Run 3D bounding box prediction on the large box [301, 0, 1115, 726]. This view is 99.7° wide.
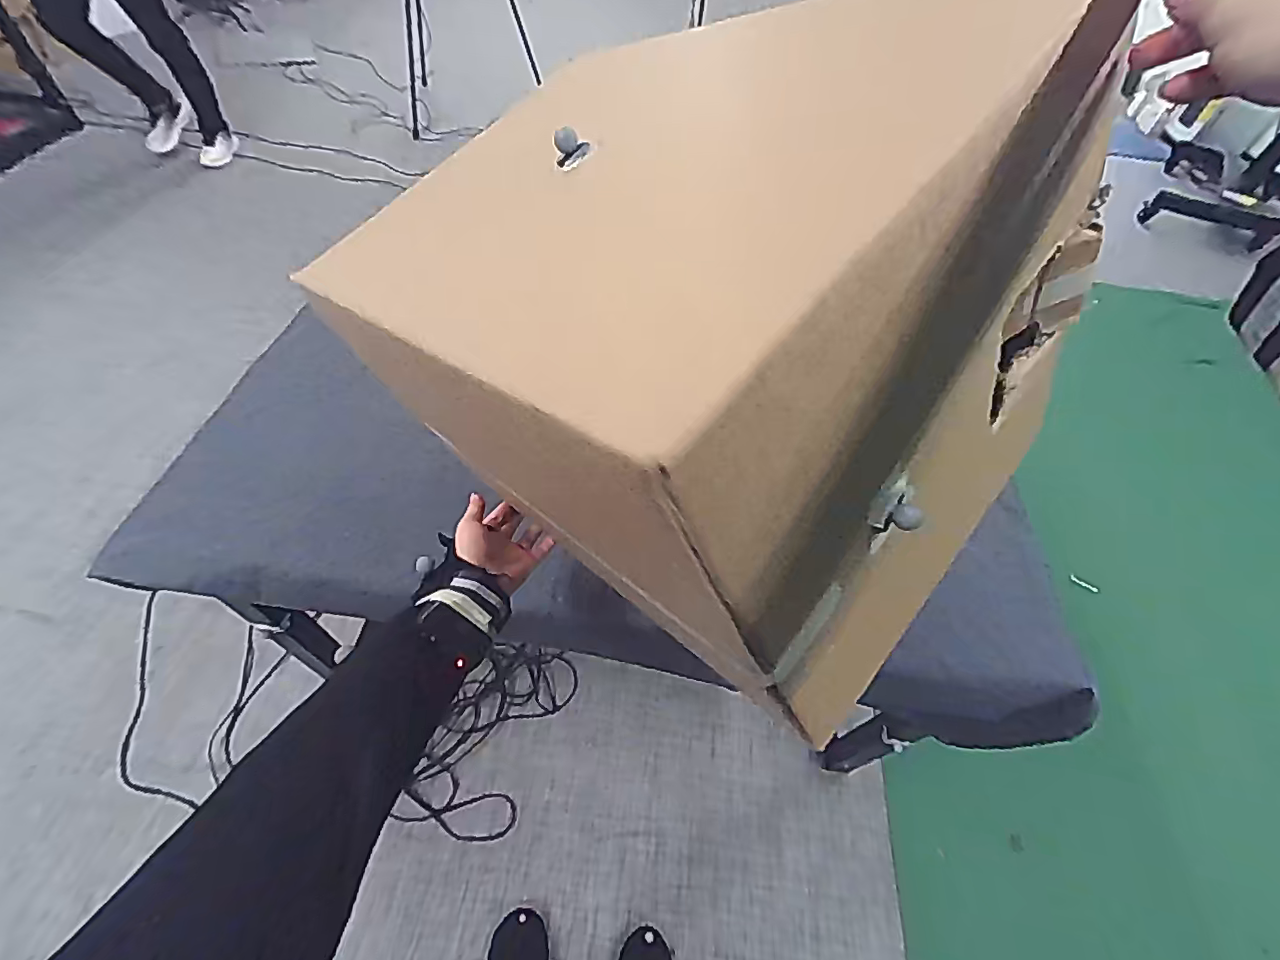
[{"bbox_3d":[0.029,-0.090,0.421,0.408,0.320,0.320,28,70,39],"label":"large box"}]
